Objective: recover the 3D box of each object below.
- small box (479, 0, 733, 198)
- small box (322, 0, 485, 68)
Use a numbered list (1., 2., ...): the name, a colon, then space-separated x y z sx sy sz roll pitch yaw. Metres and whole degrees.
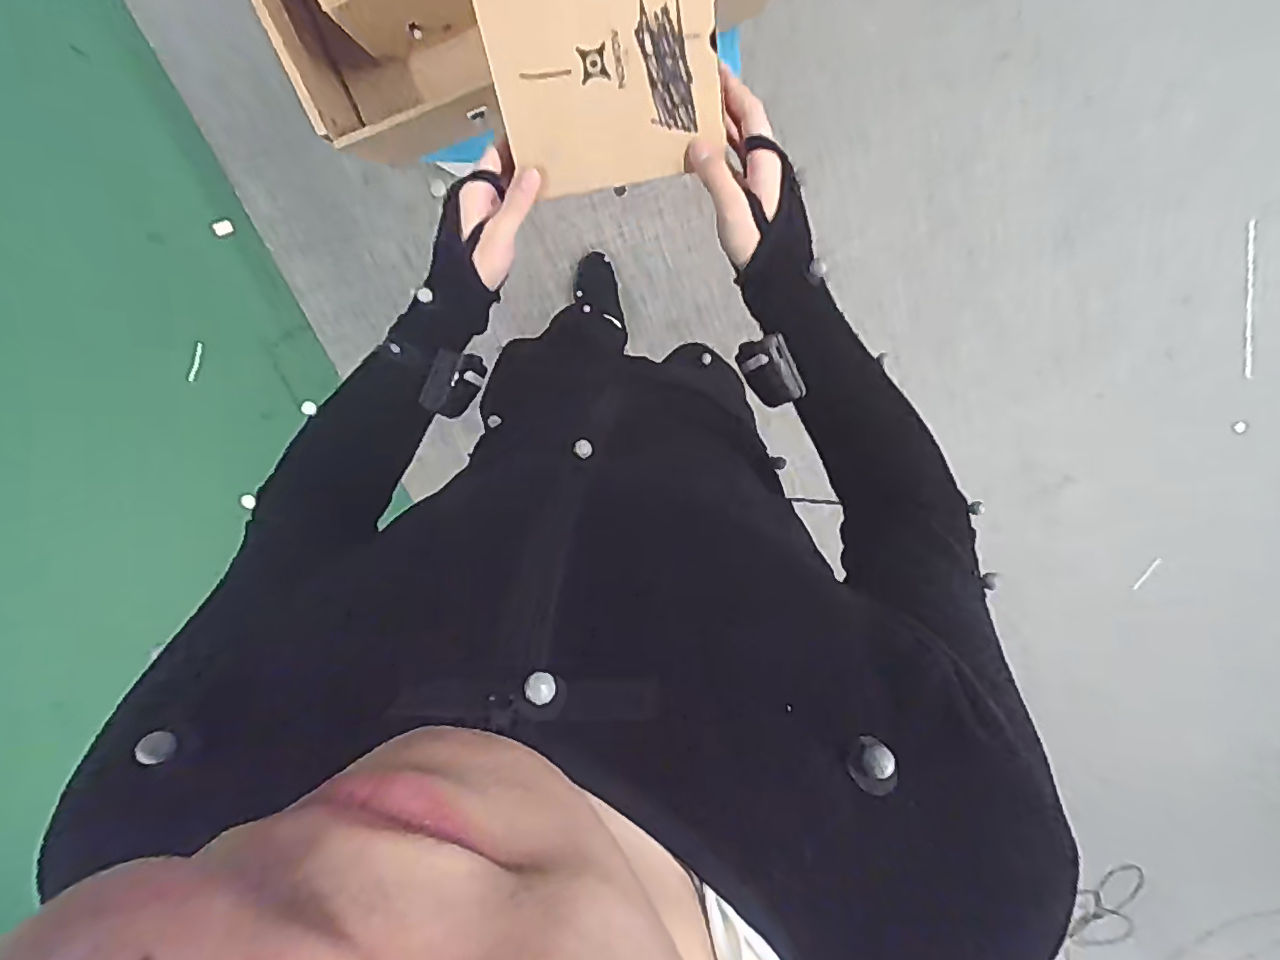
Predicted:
1. small box: -0.022 -0.360 0.469 0.179 0.176 0.168 -7 124 6
2. small box: -0.297 -0.633 0.628 0.168 0.176 0.179 -22 110 4
